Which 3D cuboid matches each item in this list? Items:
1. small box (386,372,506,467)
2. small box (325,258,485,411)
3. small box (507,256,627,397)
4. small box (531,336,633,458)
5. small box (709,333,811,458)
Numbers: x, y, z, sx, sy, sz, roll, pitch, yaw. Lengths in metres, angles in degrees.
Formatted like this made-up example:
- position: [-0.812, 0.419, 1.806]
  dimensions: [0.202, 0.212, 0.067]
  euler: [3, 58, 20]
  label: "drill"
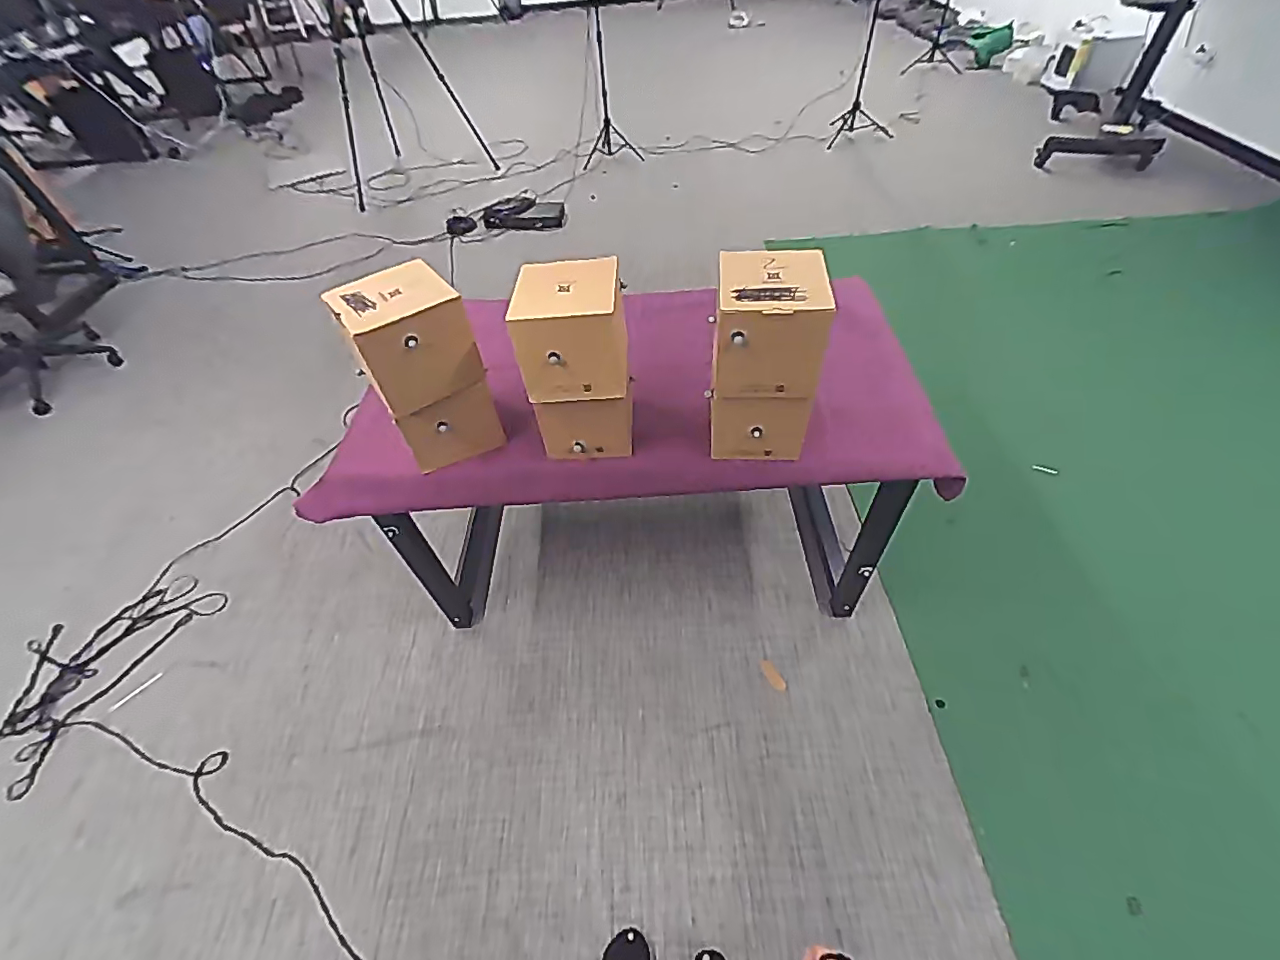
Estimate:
- position: [-0.384, -0.152, 1.062]
  dimensions: [0.179, 0.176, 0.168]
  euler: [-22, 51, -14]
  label: "small box"
- position: [-0.394, -0.248, 0.928]
  dimensions: [0.179, 0.176, 0.168]
  euler: [-31, 54, -22]
  label: "small box"
- position: [-0.111, -0.254, 0.918]
  dimensions: [0.168, 0.176, 0.179]
  euler: [-3, 48, 3]
  label: "small box"
- position: [-0.103, -0.161, 1.051]
  dimensions: [0.168, 0.176, 0.179]
  euler: [-2, 49, 3]
  label: "small box"
- position: [0.219, -0.156, 1.022]
  dimensions: [0.168, 0.176, 0.179]
  euler: [2, 50, 5]
  label: "small box"
